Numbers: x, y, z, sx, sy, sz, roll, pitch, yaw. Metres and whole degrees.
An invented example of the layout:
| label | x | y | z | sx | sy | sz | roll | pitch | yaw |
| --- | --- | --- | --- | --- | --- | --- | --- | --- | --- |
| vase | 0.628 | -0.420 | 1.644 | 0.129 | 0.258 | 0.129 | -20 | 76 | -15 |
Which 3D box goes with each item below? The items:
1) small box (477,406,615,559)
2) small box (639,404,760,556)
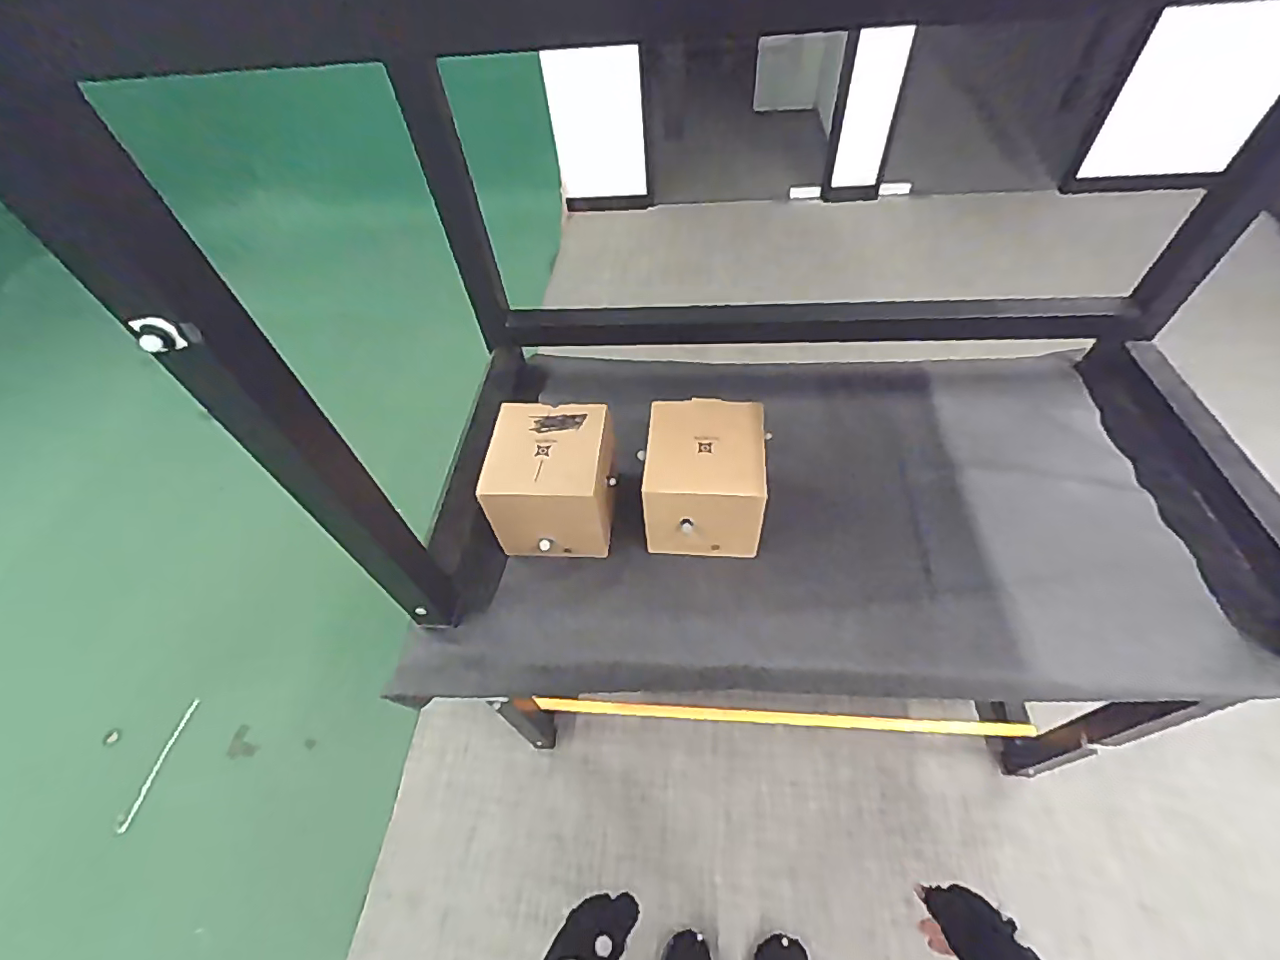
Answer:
| label | x | y | z | sx | sy | sz | roll | pitch | yaw |
| --- | --- | --- | --- | --- | --- | --- | --- | --- | --- |
| small box | -0.133 | 0.004 | 0.848 | 0.168 | 0.176 | 0.179 | 1 | 53 | 5 |
| small box | 0.094 | 0.003 | 0.832 | 0.168 | 0.176 | 0.179 | 2 | 52 | 6 |
